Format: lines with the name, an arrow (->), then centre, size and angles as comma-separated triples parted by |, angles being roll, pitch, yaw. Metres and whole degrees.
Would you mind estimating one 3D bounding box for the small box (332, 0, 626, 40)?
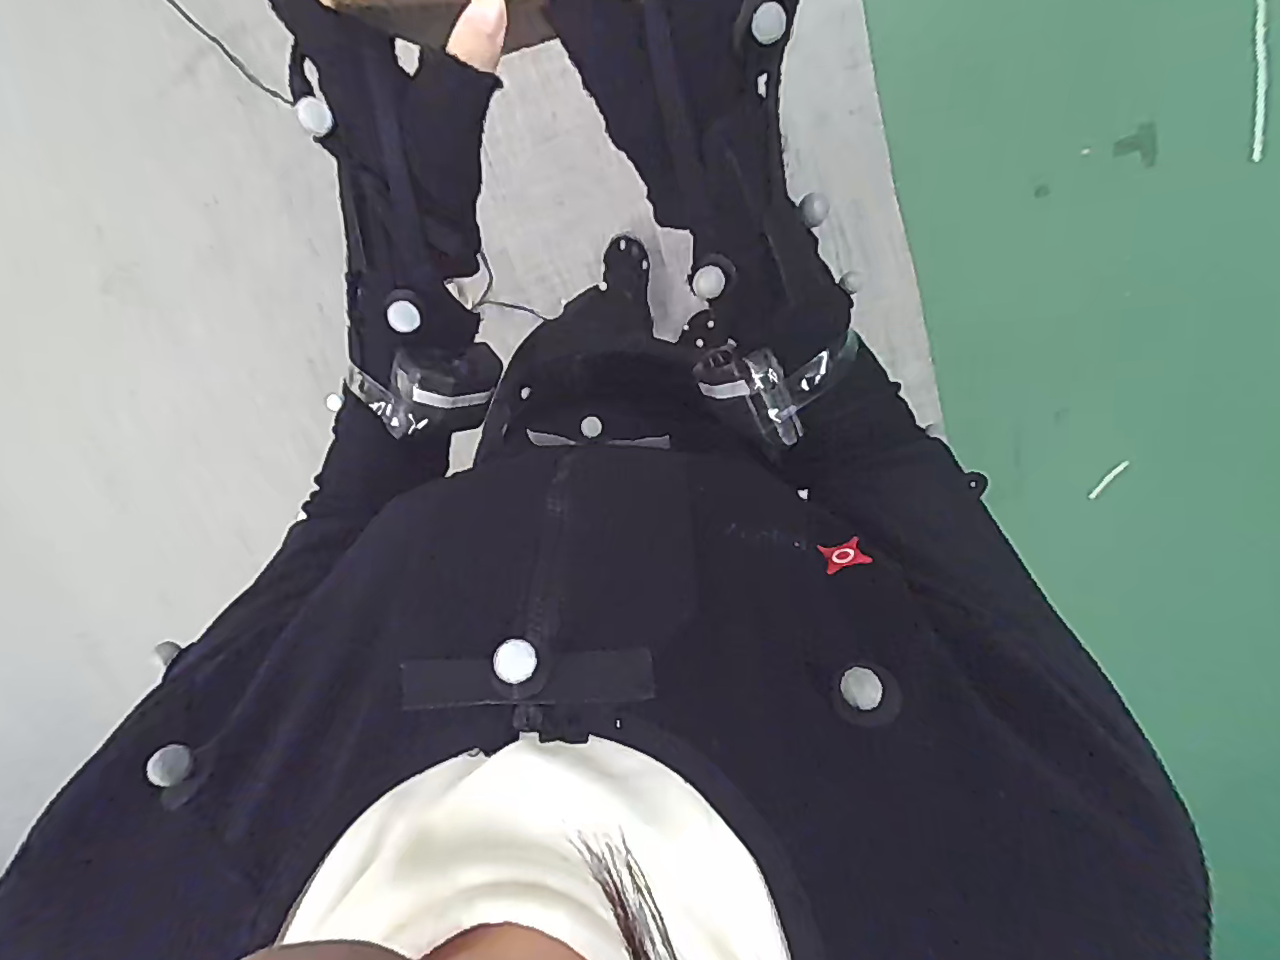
small box -> -0.067, -0.323, 0.233 | 0.168, 0.176, 0.179 | -9, 118, 10
